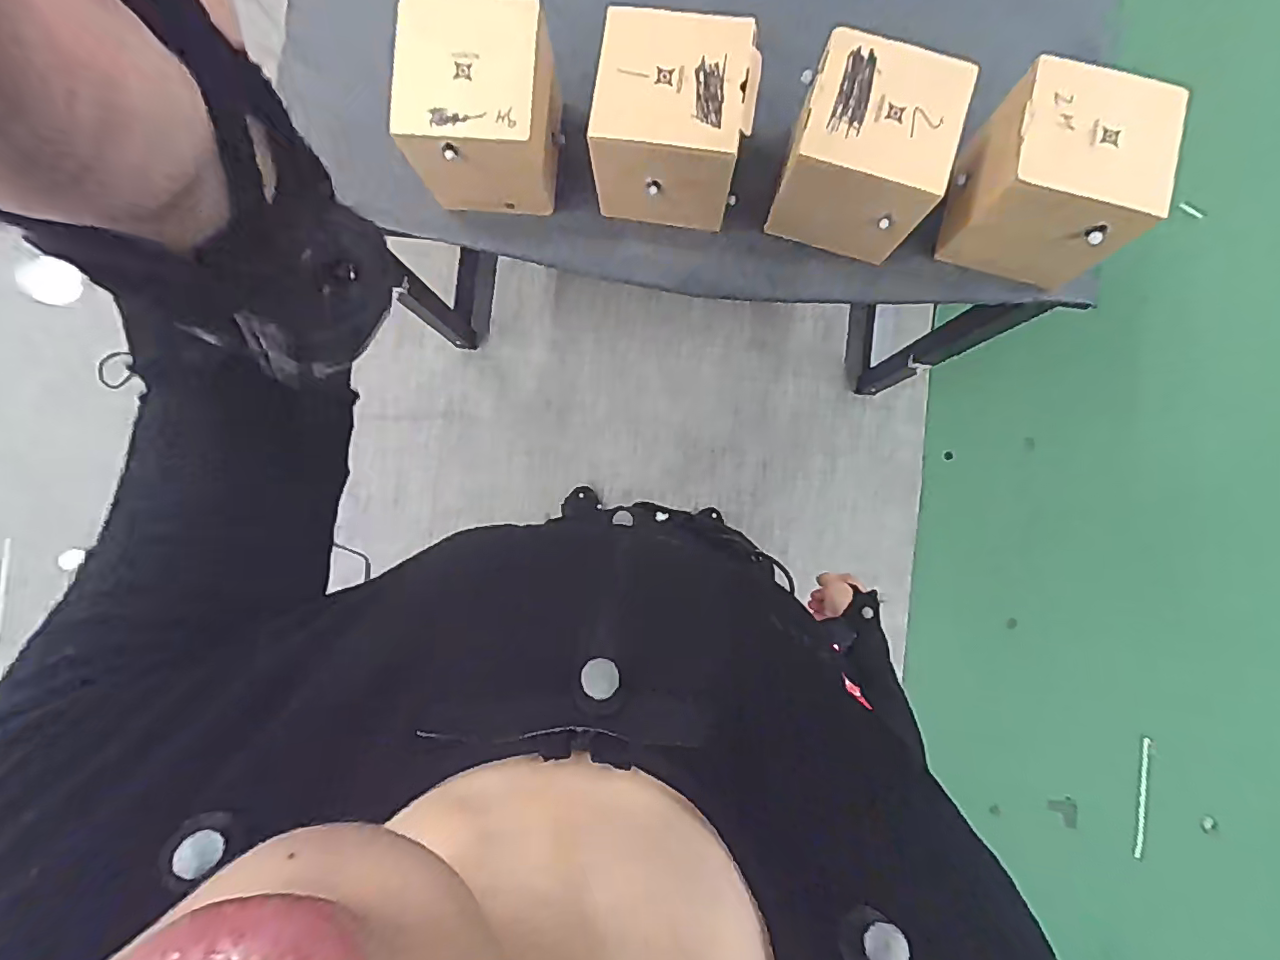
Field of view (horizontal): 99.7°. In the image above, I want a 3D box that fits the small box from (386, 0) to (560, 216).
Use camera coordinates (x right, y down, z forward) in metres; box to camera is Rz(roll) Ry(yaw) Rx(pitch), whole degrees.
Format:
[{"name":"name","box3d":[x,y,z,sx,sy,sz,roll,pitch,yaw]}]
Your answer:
[{"name":"small box","box3d":[-0.202,-0.478,0.704,0.168,0.176,0.179,5,88,2]}]
